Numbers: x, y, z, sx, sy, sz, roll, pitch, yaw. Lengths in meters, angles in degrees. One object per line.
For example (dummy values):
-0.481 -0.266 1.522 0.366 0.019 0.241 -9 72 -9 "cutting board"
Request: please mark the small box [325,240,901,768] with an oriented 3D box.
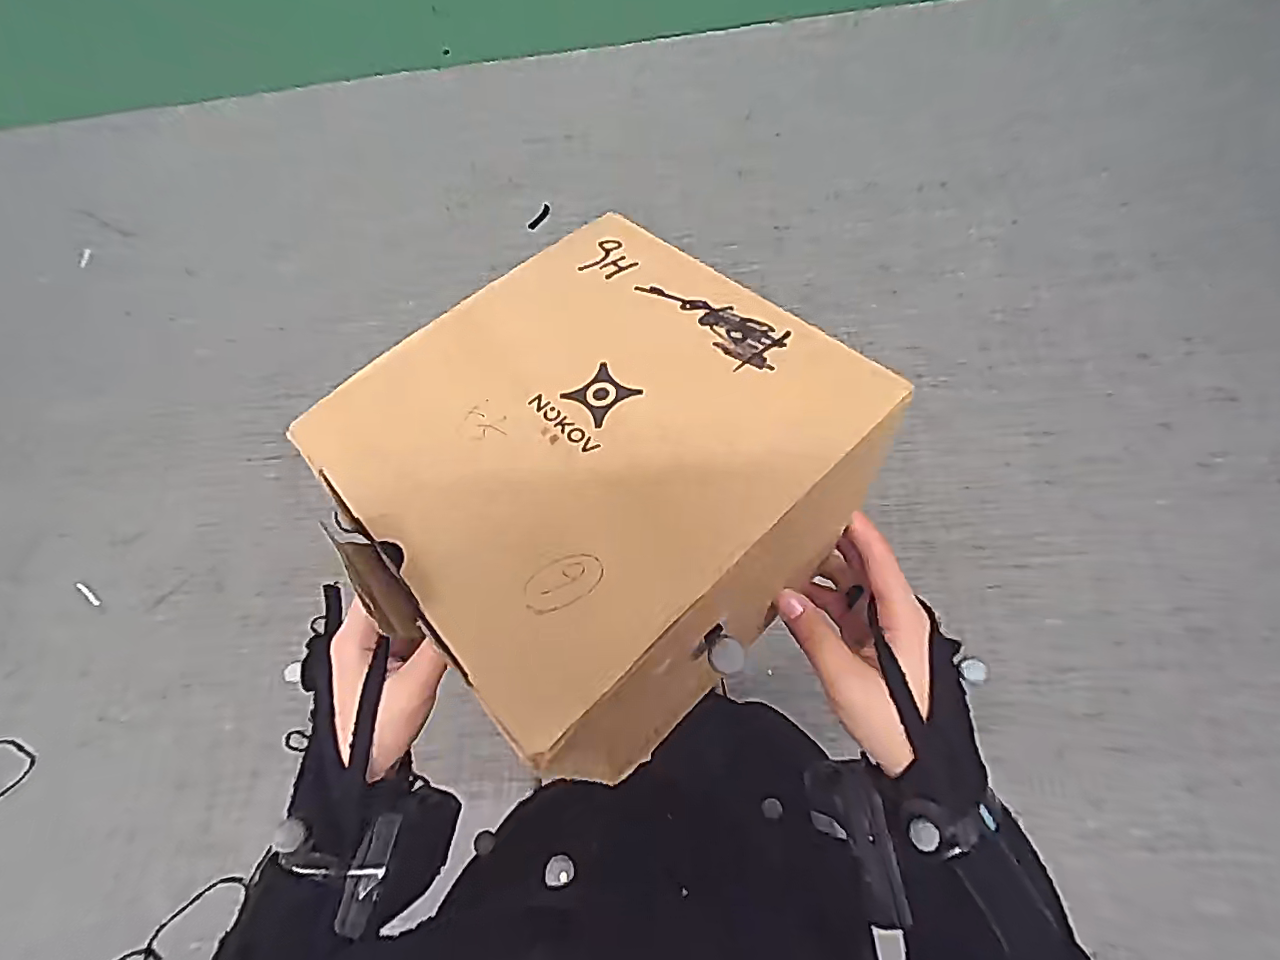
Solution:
-0.007 0.022 0.281 0.179 0.176 0.168 -41 63 -16 "small box"
